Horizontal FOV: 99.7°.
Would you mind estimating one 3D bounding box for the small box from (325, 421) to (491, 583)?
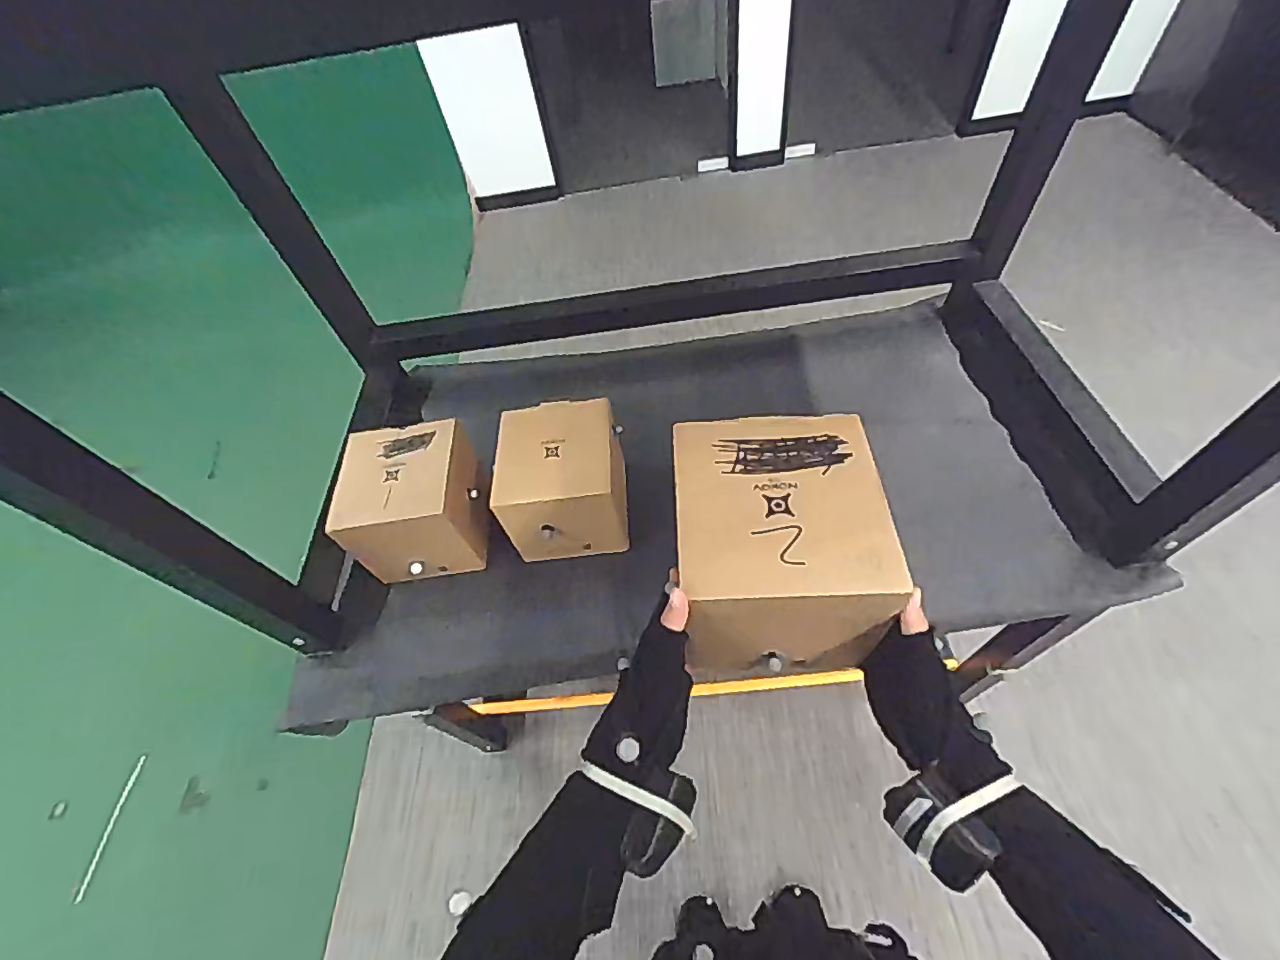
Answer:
[{"bbox_3d":[-0.338,0.036,0.831,0.168,0.176,0.179,-8,53,3],"label":"small box"}]

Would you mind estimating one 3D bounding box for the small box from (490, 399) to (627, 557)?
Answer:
[{"bbox_3d":[-0.113,0.005,0.823,0.168,0.176,0.179,-7,53,4],"label":"small box"}]
